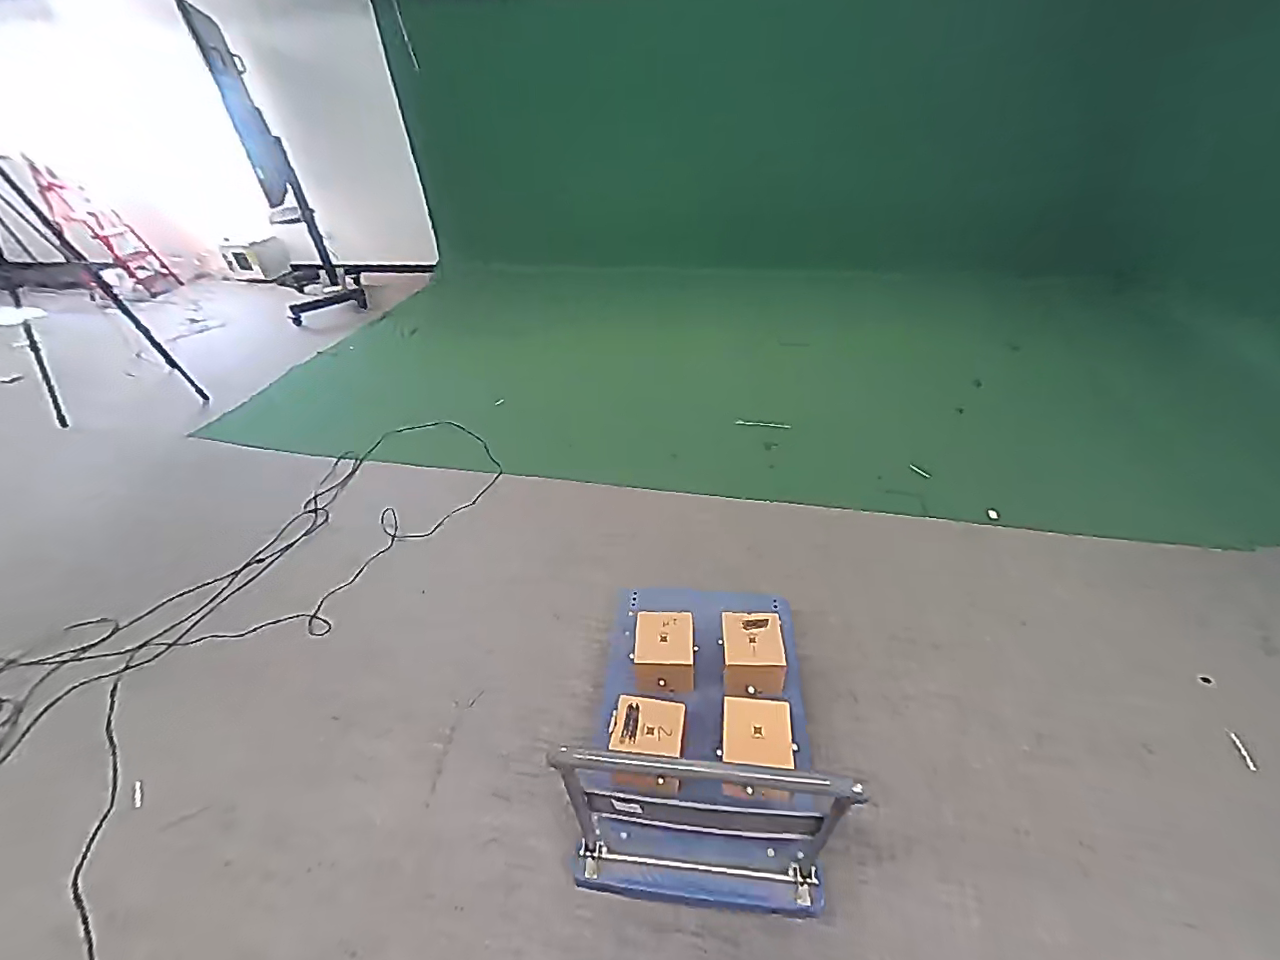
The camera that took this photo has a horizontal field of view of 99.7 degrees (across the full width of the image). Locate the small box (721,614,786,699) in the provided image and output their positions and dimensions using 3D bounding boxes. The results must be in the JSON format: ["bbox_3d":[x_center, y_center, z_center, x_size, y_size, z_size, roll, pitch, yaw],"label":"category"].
[{"bbox_3d":[0.325,0.513,1.581,0.168,0.176,0.179,-1,40,5],"label":"small box"}]

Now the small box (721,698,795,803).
[{"bbox_3d":[0.293,0.686,1.375,0.168,0.176,0.179,3,40,8],"label":"small box"}]

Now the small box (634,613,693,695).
[{"bbox_3d":[0.074,0.516,1.601,0.168,0.176,0.179,1,39,4],"label":"small box"}]
